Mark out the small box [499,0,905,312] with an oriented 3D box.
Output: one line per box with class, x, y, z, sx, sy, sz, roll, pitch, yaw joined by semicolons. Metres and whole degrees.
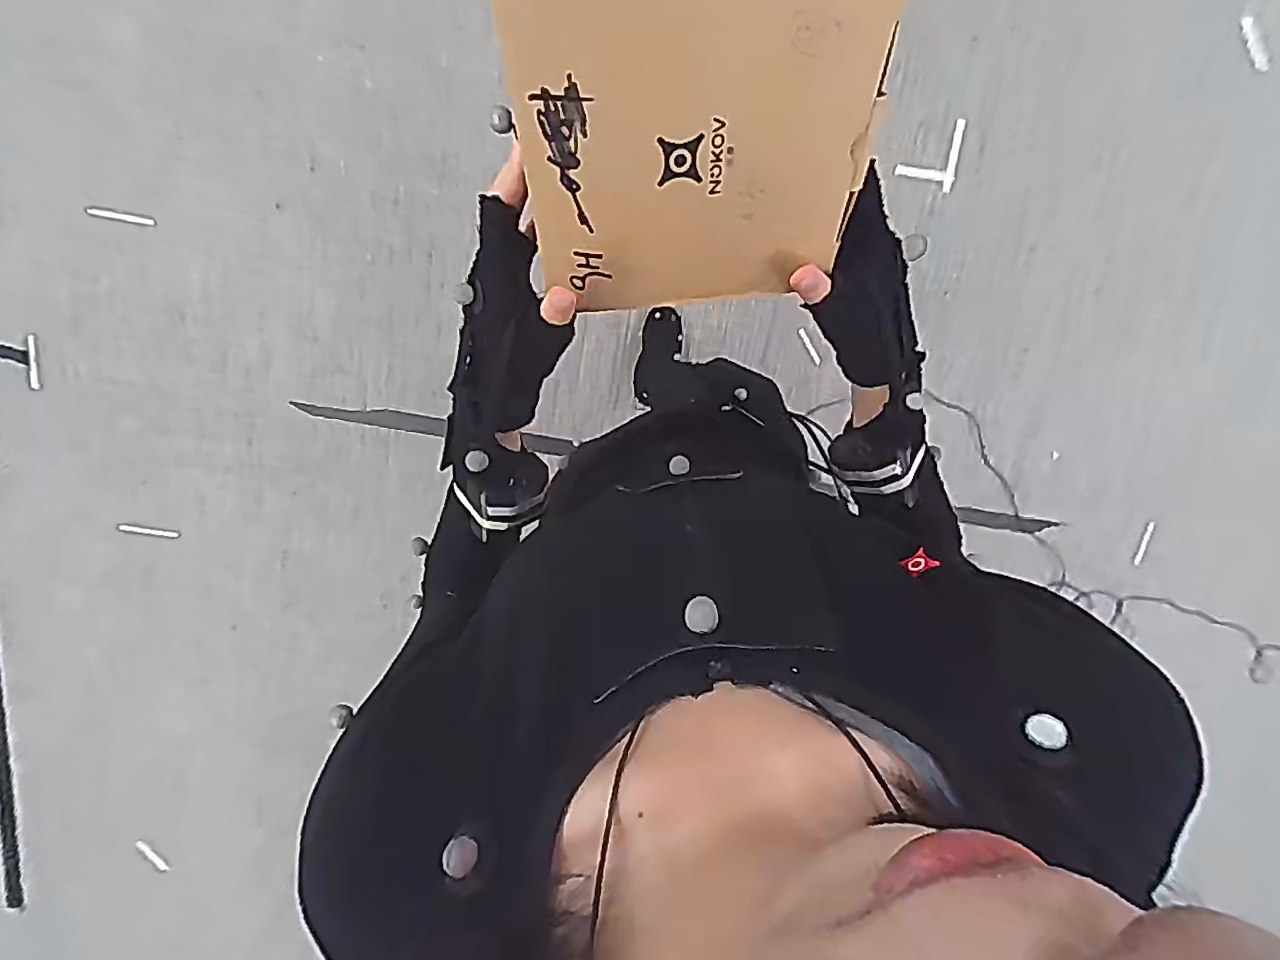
small box;0.020;-0.225;0.321;0.179;0.176;0.168;-6;142;-3
